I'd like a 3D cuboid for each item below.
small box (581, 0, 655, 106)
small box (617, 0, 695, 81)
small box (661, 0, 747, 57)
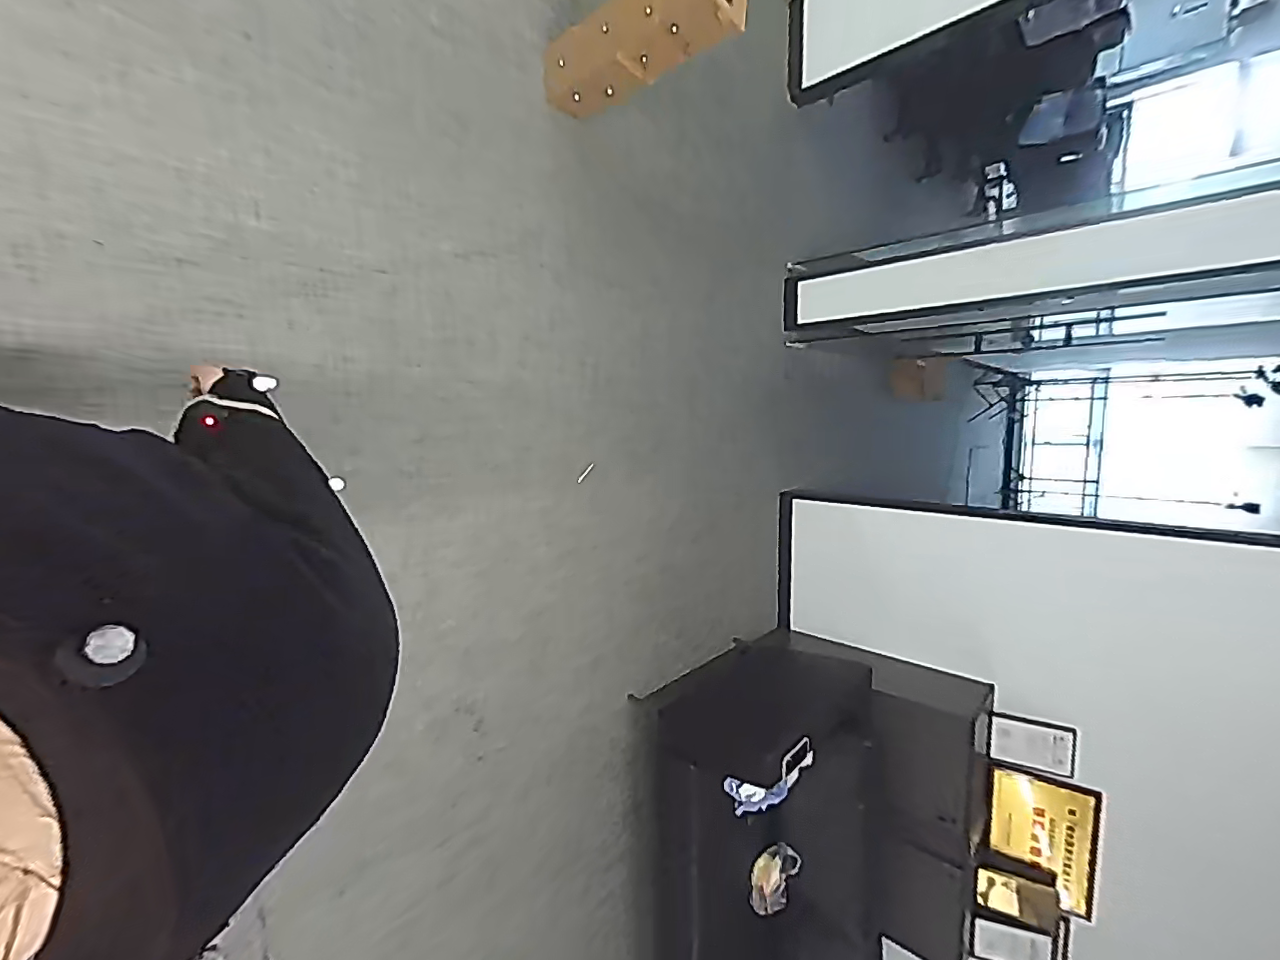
[{"bbox_3d":[-0.069,-1.309,1.669,0.168,0.176,0.179,-3,96,-46],"label":"small box"},{"bbox_3d":[0.049,-1.310,1.556,0.168,0.176,0.179,1,93,-47],"label":"small box"},{"bbox_3d":[0.171,-1.296,1.447,0.168,0.176,0.179,4,90,-47],"label":"small box"}]
